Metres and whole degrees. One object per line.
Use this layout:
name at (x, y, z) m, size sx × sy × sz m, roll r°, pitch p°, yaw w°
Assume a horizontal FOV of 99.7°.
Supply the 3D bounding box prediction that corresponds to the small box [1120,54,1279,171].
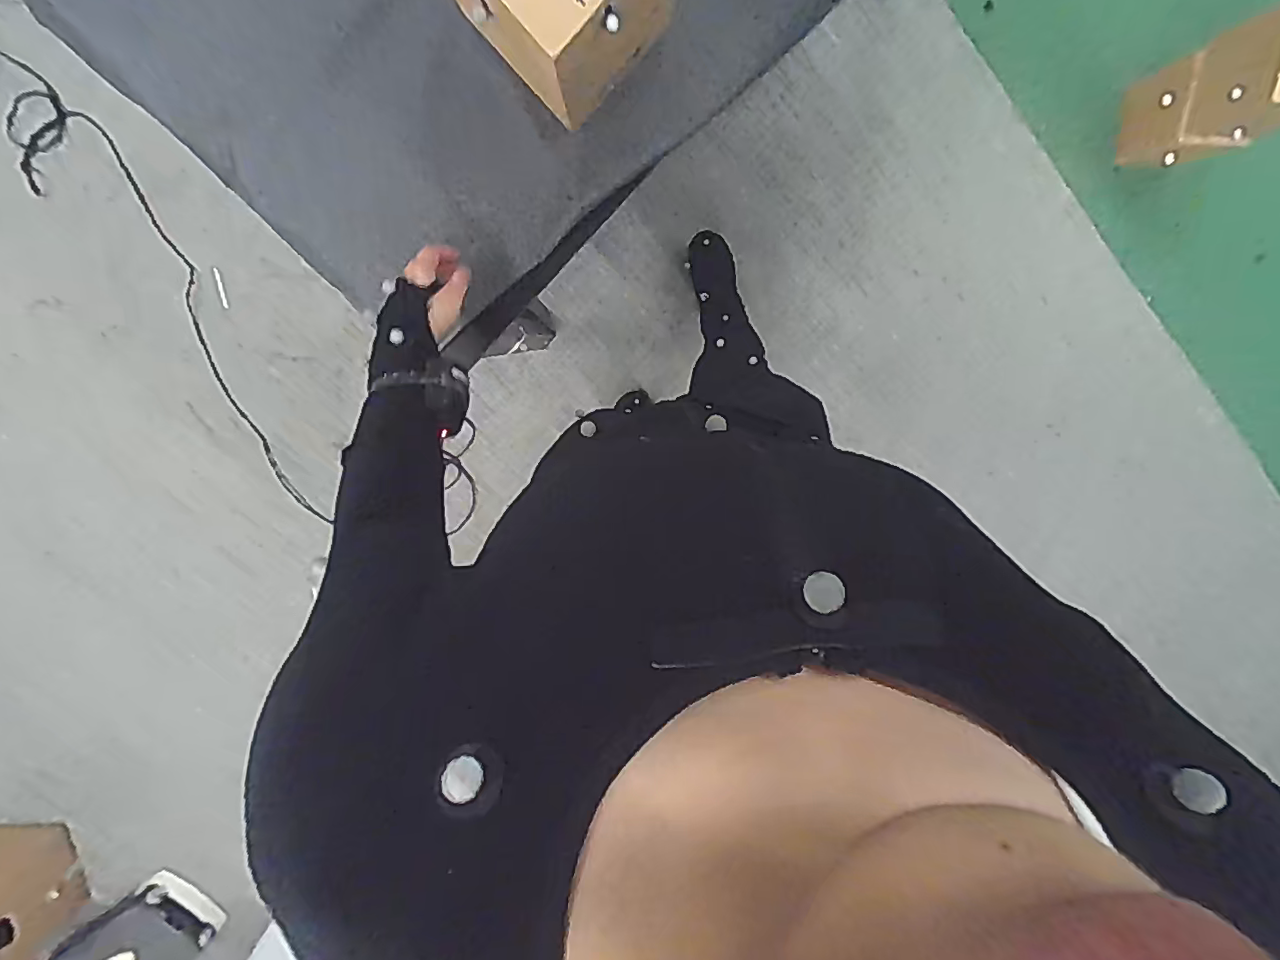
small box at (1.241, -0.814, 1.216) m, size 0.168 × 0.176 × 0.179 m, roll 1°, pitch 104°, yaw -1°

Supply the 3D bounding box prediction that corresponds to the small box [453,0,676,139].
small box at (-0.080, -0.482, 0.523) m, size 0.168 × 0.176 × 0.179 m, roll -44°, pitch 99°, yaw 9°
